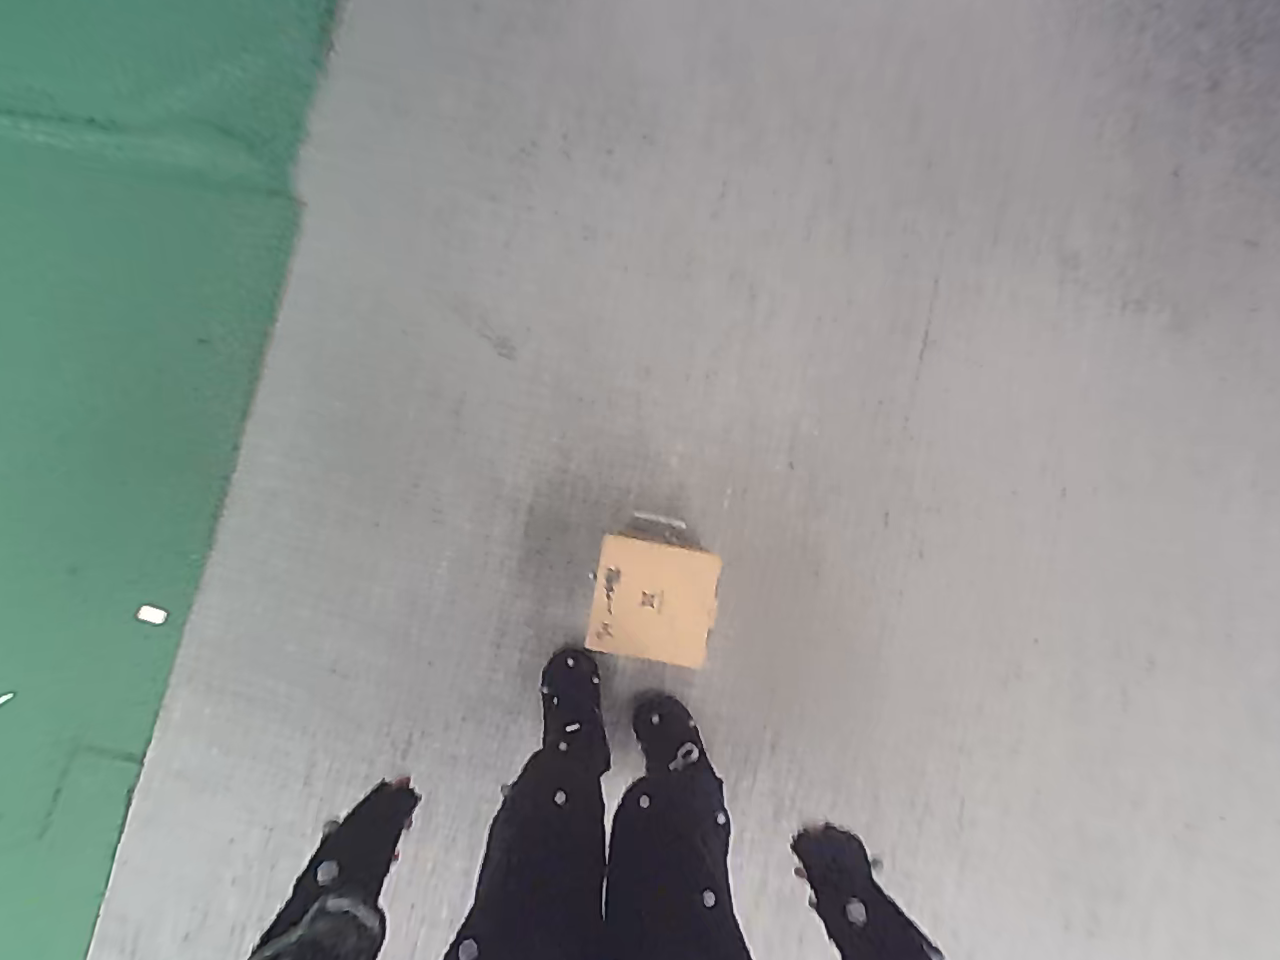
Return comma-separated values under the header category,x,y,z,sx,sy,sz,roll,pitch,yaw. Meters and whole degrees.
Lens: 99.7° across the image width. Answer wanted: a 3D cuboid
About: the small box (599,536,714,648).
category,x,y,z,sx,sy,sz,roll,pitch,yaw
small box,0.032,0.201,1.023,0.179,0.176,0.168,12,85,3
